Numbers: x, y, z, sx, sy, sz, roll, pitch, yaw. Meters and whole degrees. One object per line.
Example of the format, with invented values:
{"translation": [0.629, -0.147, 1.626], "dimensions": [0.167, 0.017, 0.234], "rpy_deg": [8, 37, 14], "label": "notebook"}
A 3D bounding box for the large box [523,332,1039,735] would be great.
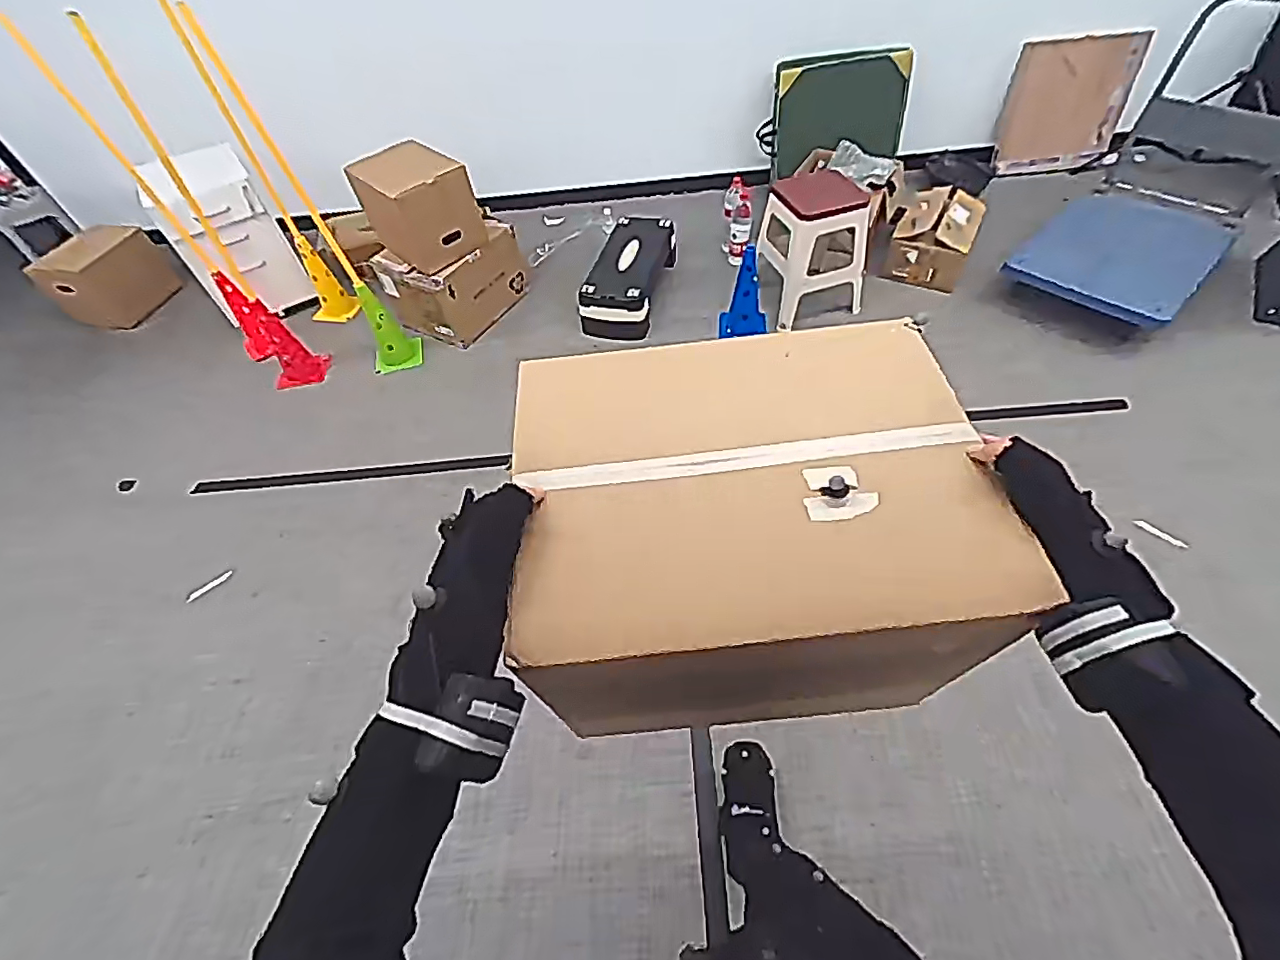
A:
{"translation": [0.102, 0.074, 0.613], "dimensions": [0.408, 0.320, 0.320], "rpy_deg": [-6, 55, 1], "label": "large box"}
